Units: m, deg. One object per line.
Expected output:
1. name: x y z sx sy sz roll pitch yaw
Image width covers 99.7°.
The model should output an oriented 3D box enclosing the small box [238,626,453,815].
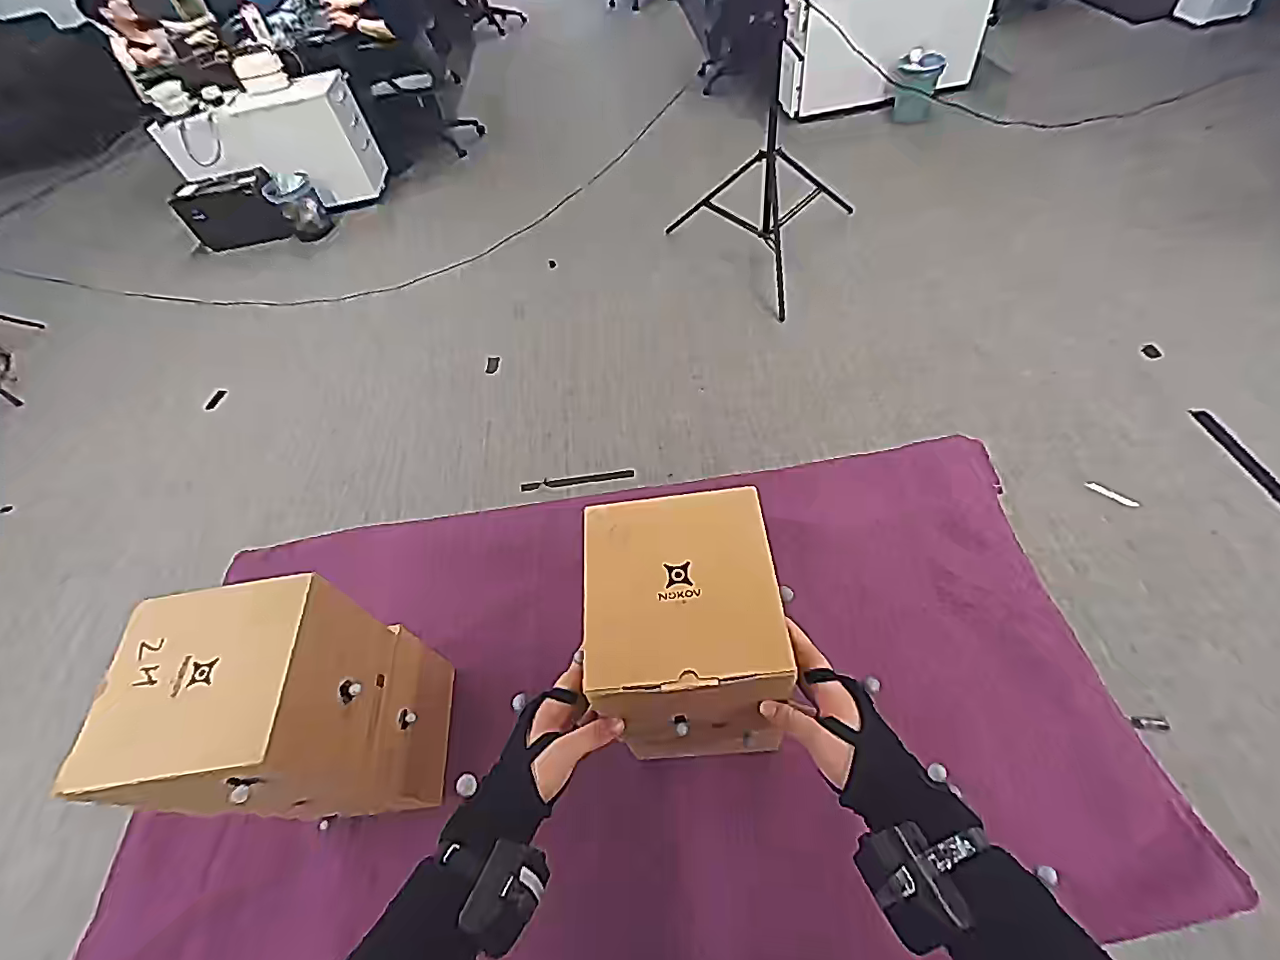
1. small box: -0.347 0.302 0.667 0.168 0.176 0.179 -9 53 2

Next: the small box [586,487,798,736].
1. small box: 0.044 0.132 0.525 0.168 0.176 0.179 -8 53 4

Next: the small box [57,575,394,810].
1. small box: -0.370 0.213 0.530 0.179 0.176 0.168 -10 53 2
